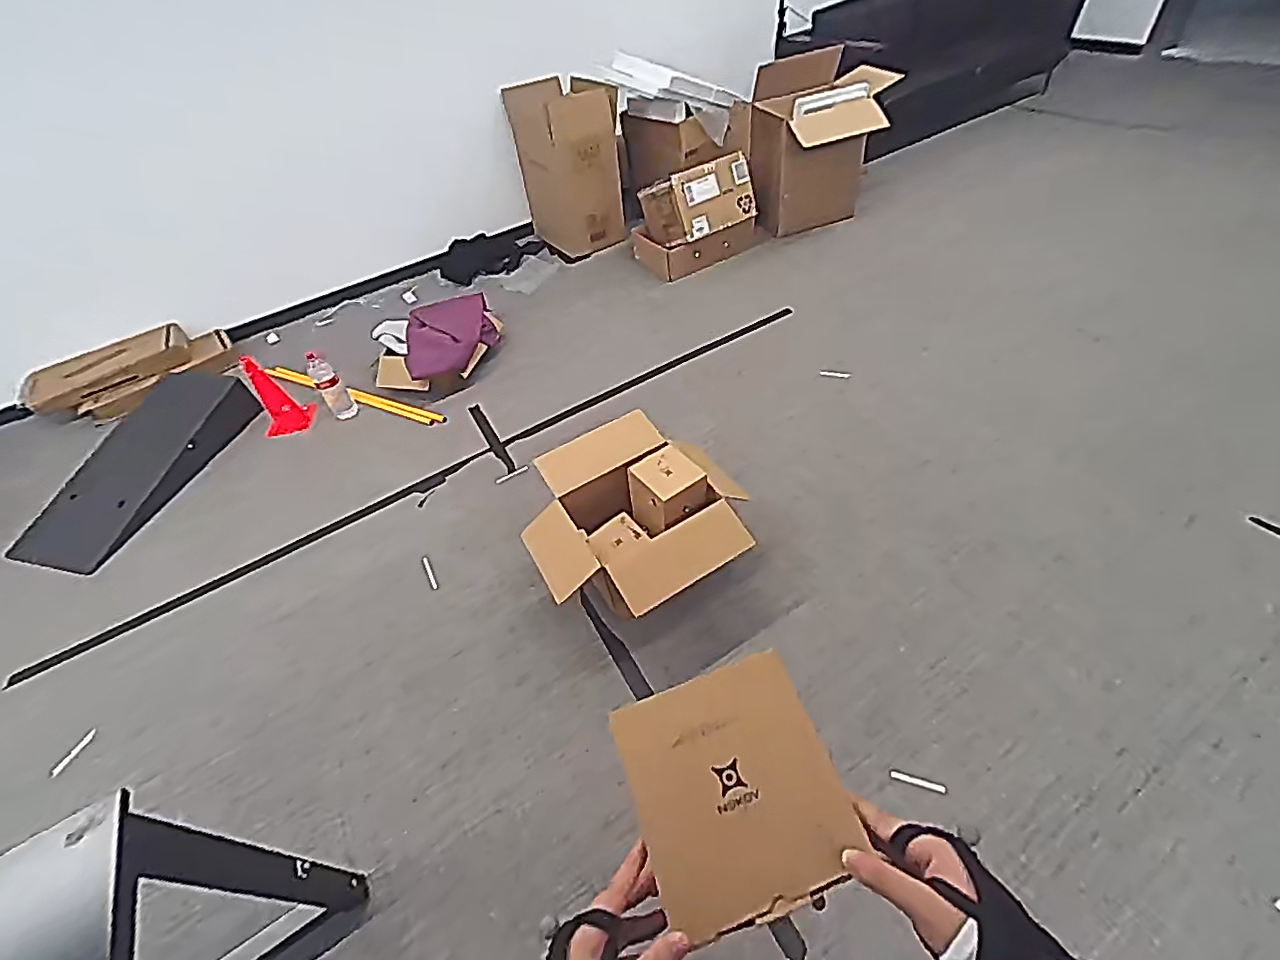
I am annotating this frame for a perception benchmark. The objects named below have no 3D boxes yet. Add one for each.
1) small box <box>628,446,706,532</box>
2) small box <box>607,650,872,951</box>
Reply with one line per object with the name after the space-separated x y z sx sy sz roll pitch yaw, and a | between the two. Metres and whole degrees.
0.085 0.035 1.636 0.168 0.176 0.179 -30 50 -23 | small box
0.082 0.294 0.509 0.168 0.176 0.179 -20 53 -7 | small box
